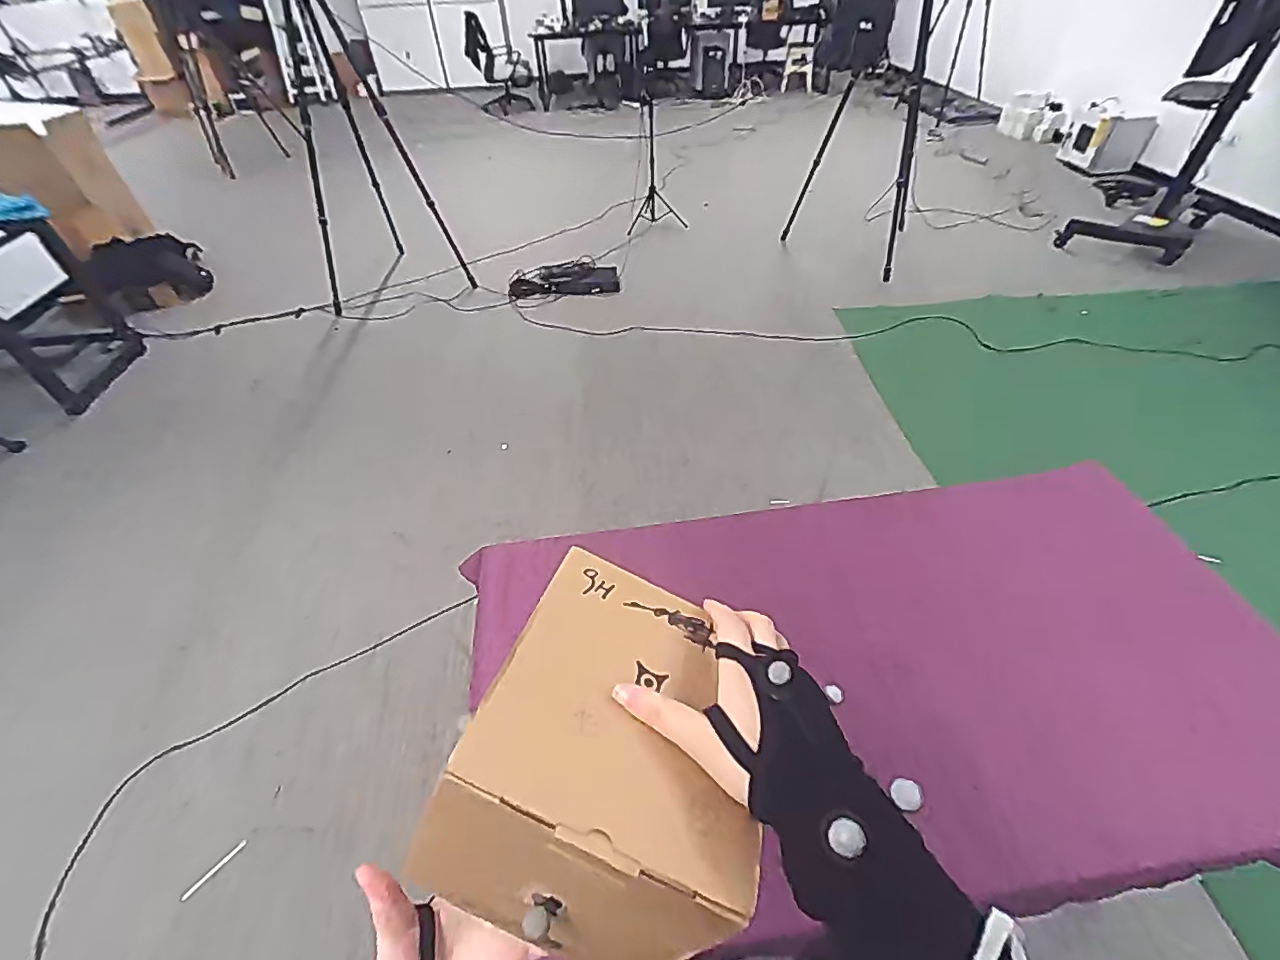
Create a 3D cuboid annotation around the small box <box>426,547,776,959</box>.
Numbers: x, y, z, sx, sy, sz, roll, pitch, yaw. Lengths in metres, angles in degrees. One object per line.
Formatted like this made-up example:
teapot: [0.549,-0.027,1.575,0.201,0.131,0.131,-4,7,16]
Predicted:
small box: [-0.027,0.188,0.373,0.168,0.176,0.179,28,37,-1]
